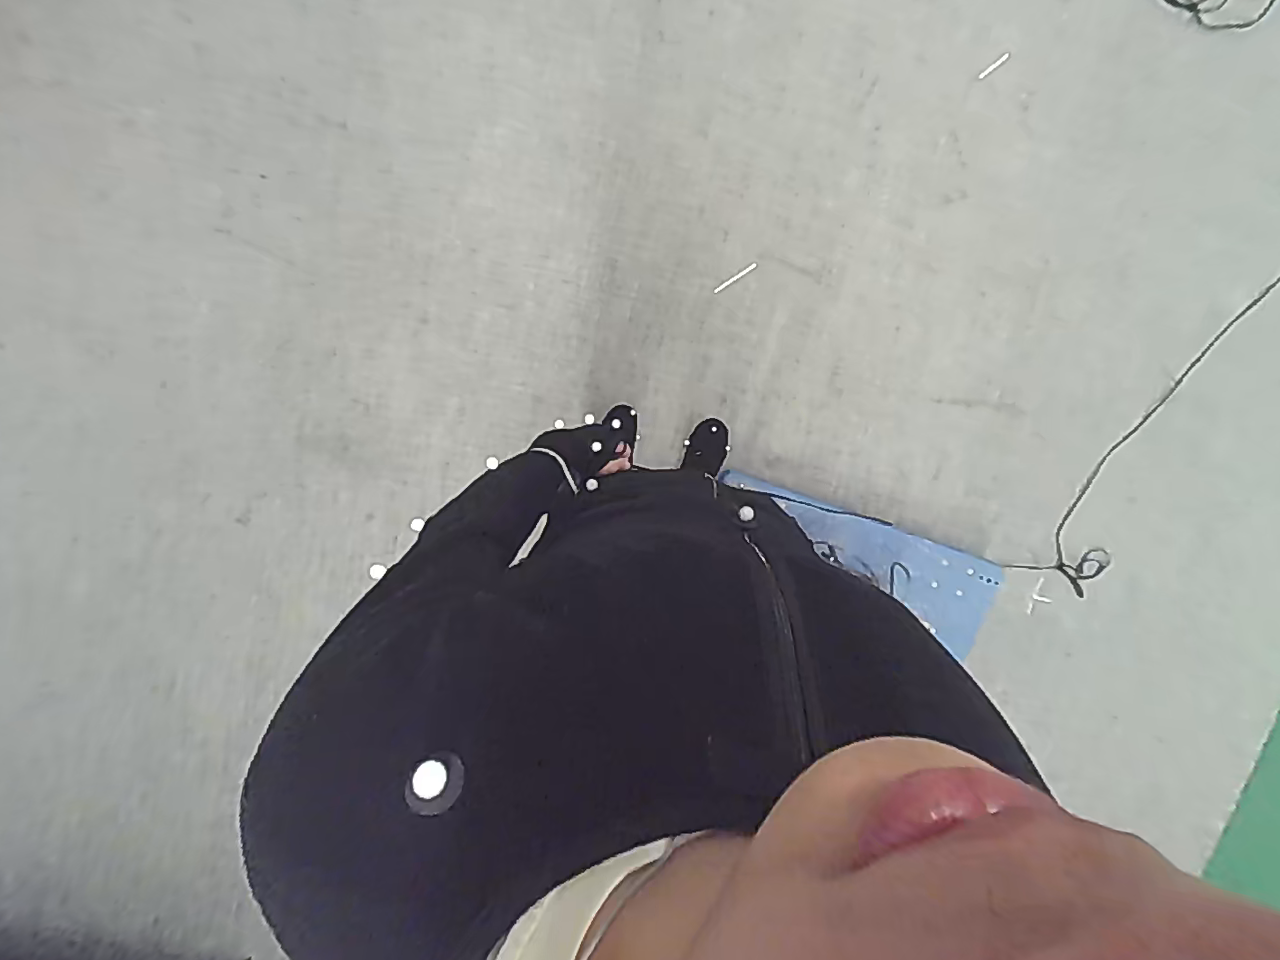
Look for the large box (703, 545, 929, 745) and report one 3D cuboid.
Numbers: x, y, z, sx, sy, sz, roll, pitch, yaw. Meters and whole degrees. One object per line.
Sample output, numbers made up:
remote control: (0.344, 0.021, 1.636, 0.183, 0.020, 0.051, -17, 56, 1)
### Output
large box: (0.414, 0.398, 1.375, 0.408, 0.320, 0.320, 19, 99, -5)
